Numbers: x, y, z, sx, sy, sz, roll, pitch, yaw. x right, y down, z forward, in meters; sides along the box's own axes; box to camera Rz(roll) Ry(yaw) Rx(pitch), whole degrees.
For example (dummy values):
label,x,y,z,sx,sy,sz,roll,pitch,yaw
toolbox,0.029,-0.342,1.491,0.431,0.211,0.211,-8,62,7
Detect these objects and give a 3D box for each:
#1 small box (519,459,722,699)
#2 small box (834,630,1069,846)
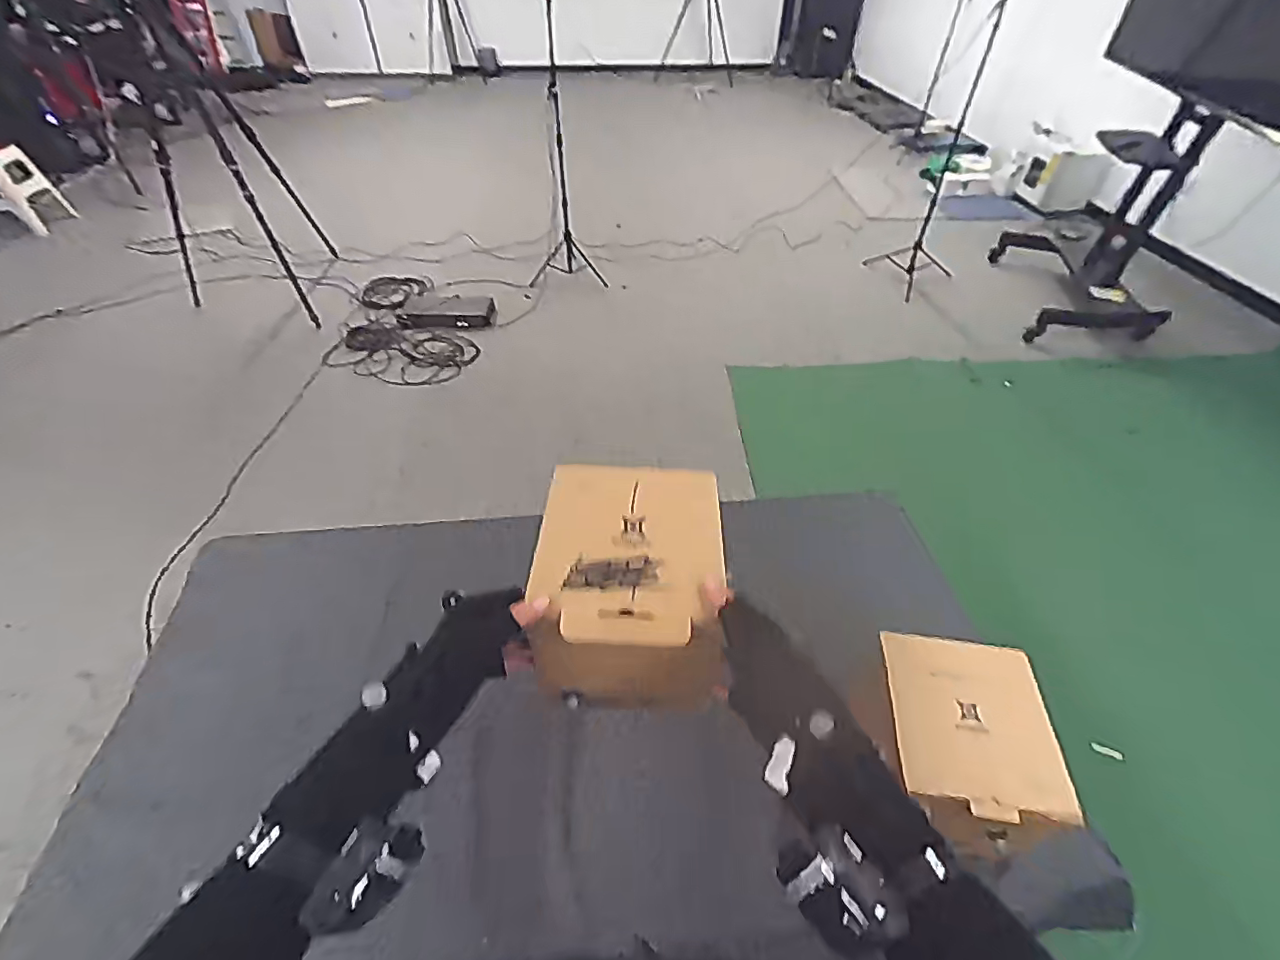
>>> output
label,x,y,z,sx,sy,sz,roll,pitch,yaw
small box,-0.013,0.100,0.539,0.168,0.176,0.179,2,43,0
small box,0.340,0.305,0.635,0.168,0.176,0.179,7,45,4
